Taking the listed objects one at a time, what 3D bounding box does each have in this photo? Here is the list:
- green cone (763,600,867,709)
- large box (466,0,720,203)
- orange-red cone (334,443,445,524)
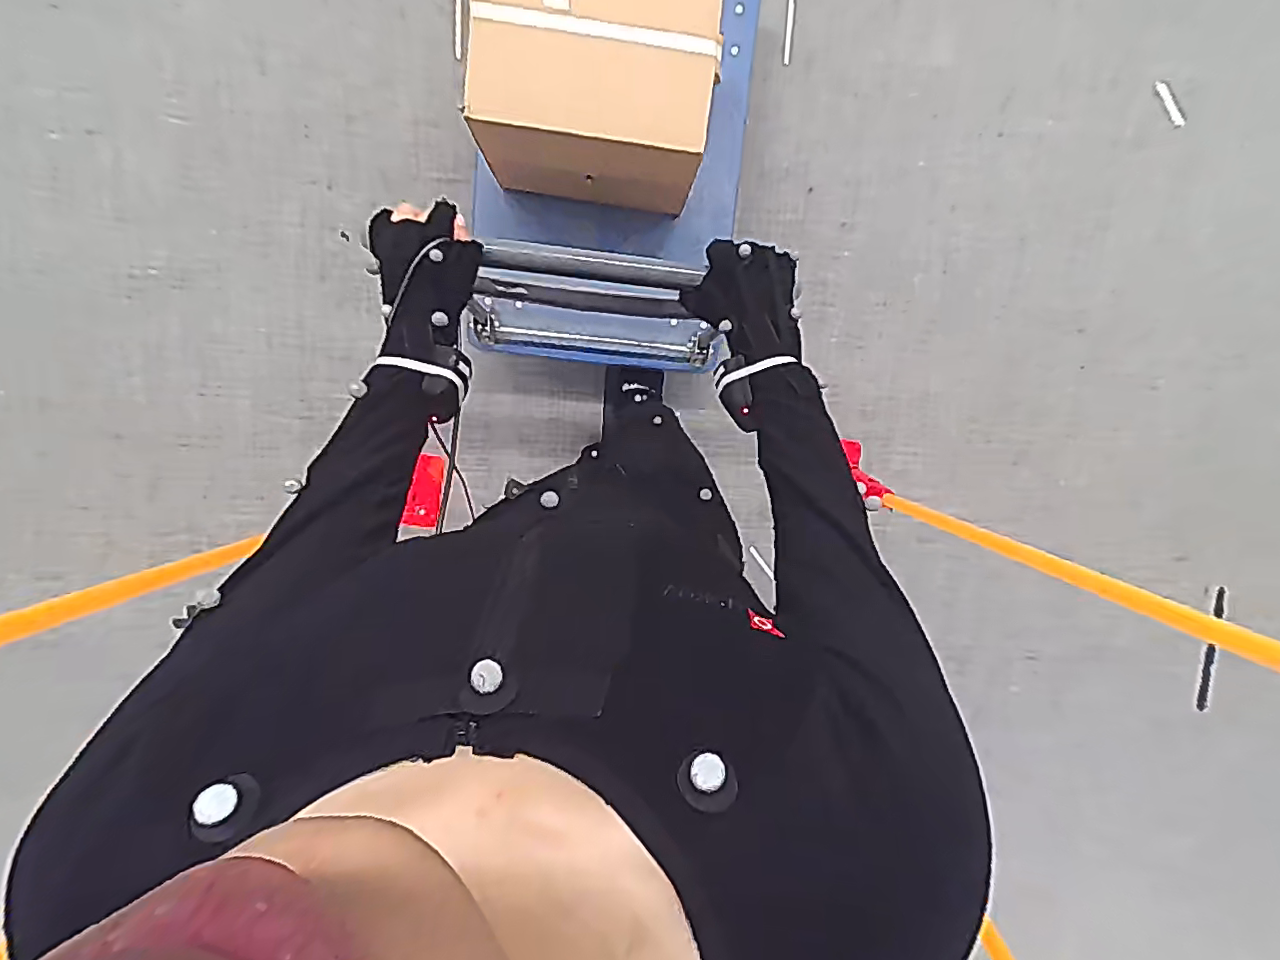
[{"bbox_3d":[0.472,0.472,1.386,0.202,0.368,0.200,6,98,-5],"label":"green cone"},{"bbox_3d":[-0.079,-0.755,1.024,0.408,0.320,0.320,6,98,-3],"label":"large box"},{"bbox_3d":[-0.616,0.033,1.267,0.198,0.360,0.199,10,97,-5],"label":"orange-red cone"}]
